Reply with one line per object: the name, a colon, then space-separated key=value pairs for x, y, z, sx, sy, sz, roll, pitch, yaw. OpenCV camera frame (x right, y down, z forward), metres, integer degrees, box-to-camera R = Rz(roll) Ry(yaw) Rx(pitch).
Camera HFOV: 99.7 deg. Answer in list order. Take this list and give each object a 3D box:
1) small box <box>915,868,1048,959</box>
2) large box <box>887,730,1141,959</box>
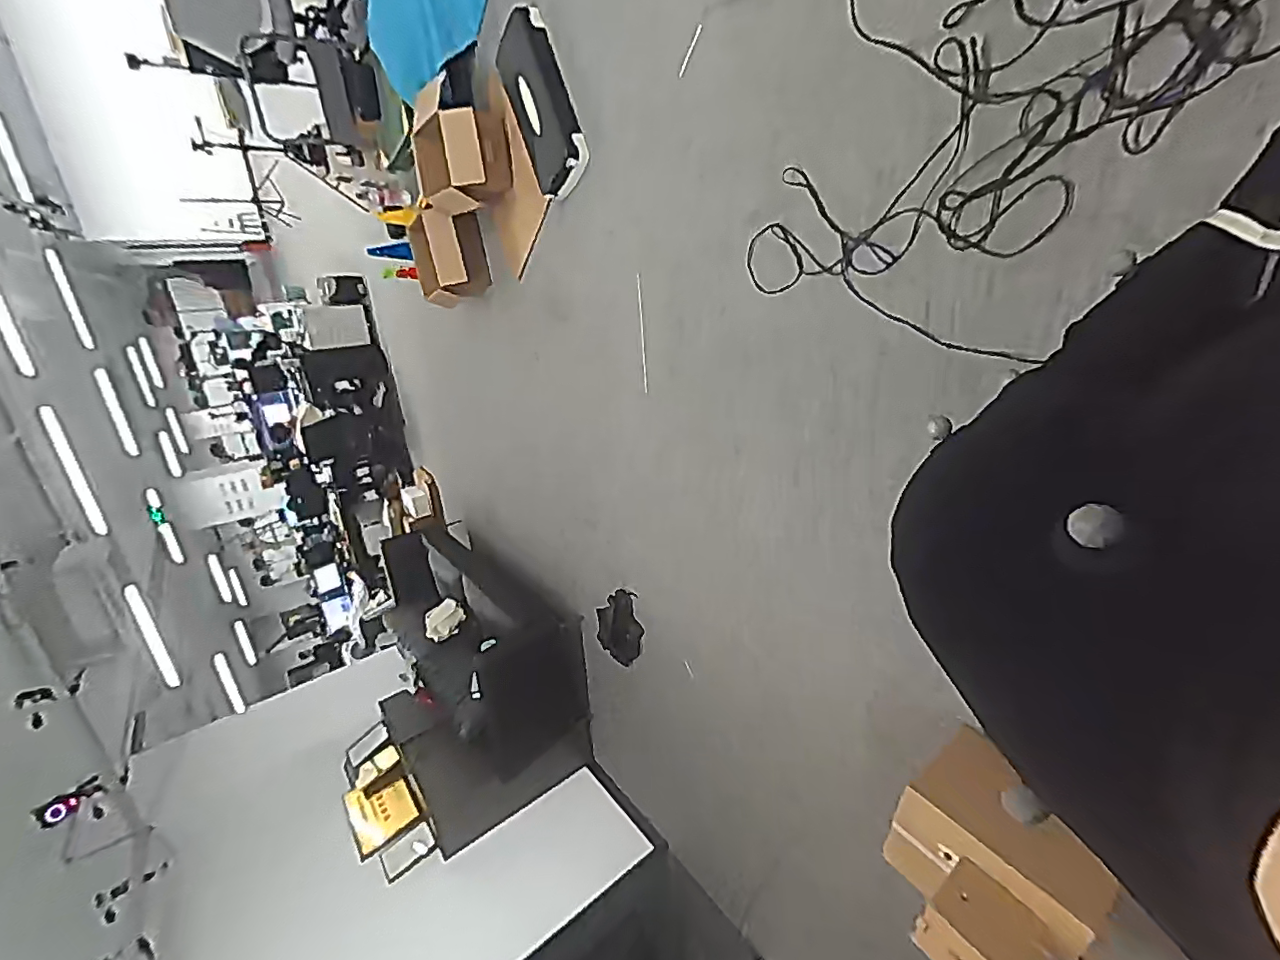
small box: x=0.753 y=1.013 z=1.199 sx=0.179 sy=0.176 sz=0.168 roll=30 pitch=130 yaw=43
large box: x=0.920 y=0.940 z=1.366 sx=0.408 sy=0.320 sz=0.320 roll=31 pitch=128 yaw=46
